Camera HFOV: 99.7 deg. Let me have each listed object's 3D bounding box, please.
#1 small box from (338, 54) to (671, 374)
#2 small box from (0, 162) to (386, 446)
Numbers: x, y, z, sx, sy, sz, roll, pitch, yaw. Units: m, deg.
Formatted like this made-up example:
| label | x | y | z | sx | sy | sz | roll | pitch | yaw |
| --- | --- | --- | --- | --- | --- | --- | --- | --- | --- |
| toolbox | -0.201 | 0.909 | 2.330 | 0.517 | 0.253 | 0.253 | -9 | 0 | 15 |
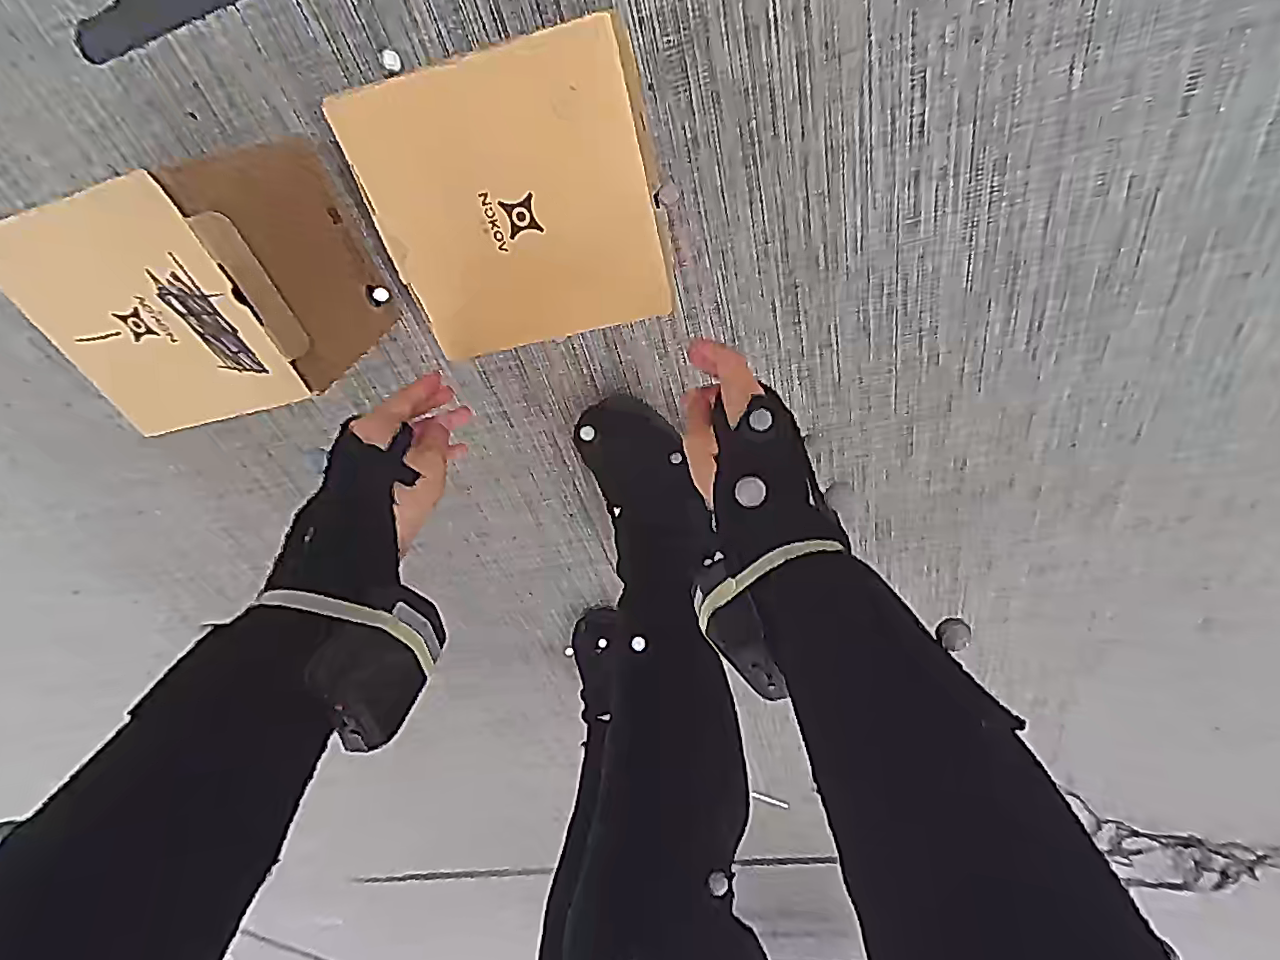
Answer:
| label | x | y | z | sx | sy | sz | roll | pitch | yaw |
| --- | --- | --- | --- | --- | --- | --- | --- | --- | --- |
| small box | -0.077 | -0.206 | 0.416 | 0.179 | 0.176 | 0.168 | -9 | 126 | 11 |
| small box | -0.351 | -0.155 | 0.467 | 0.179 | 0.176 | 0.168 | -10 | 126 | 12 |
